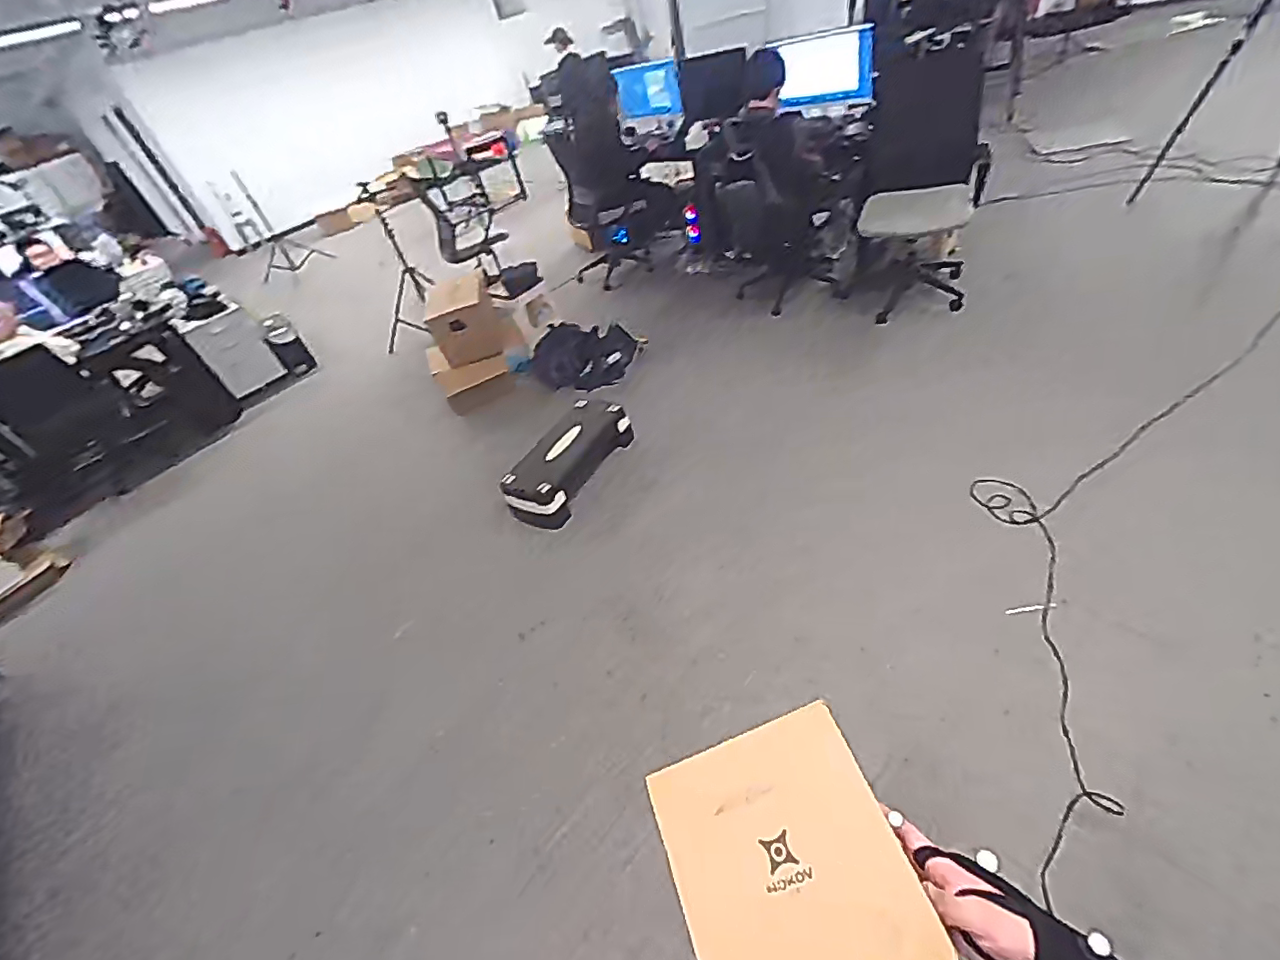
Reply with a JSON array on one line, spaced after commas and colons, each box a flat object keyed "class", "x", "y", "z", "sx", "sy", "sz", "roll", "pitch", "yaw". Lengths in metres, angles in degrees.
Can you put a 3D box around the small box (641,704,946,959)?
[{"class": "small box", "x": 0.123, "y": 0.322, "z": 0.458, "sx": 0.168, "sy": 0.176, "sz": 0.179, "roll": -25, "pitch": 50, "yaw": 3}]
